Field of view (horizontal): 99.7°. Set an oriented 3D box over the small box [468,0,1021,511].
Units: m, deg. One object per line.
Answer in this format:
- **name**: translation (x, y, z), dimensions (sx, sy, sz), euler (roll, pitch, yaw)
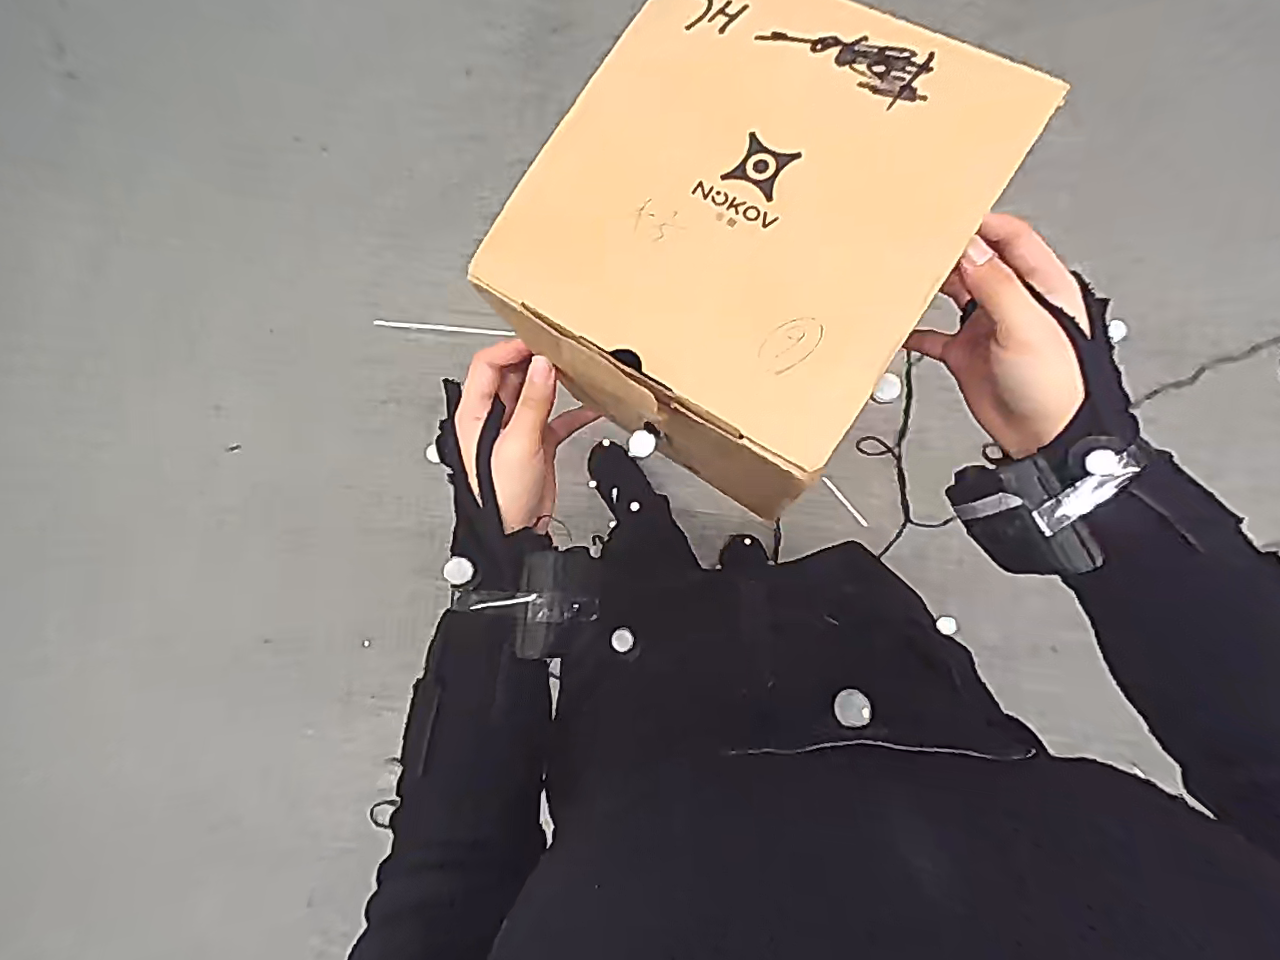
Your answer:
- **small box**: translation (0.049, -0.097, 0.299), dimensions (0.168, 0.176, 0.179), euler (33, 88, 13)
